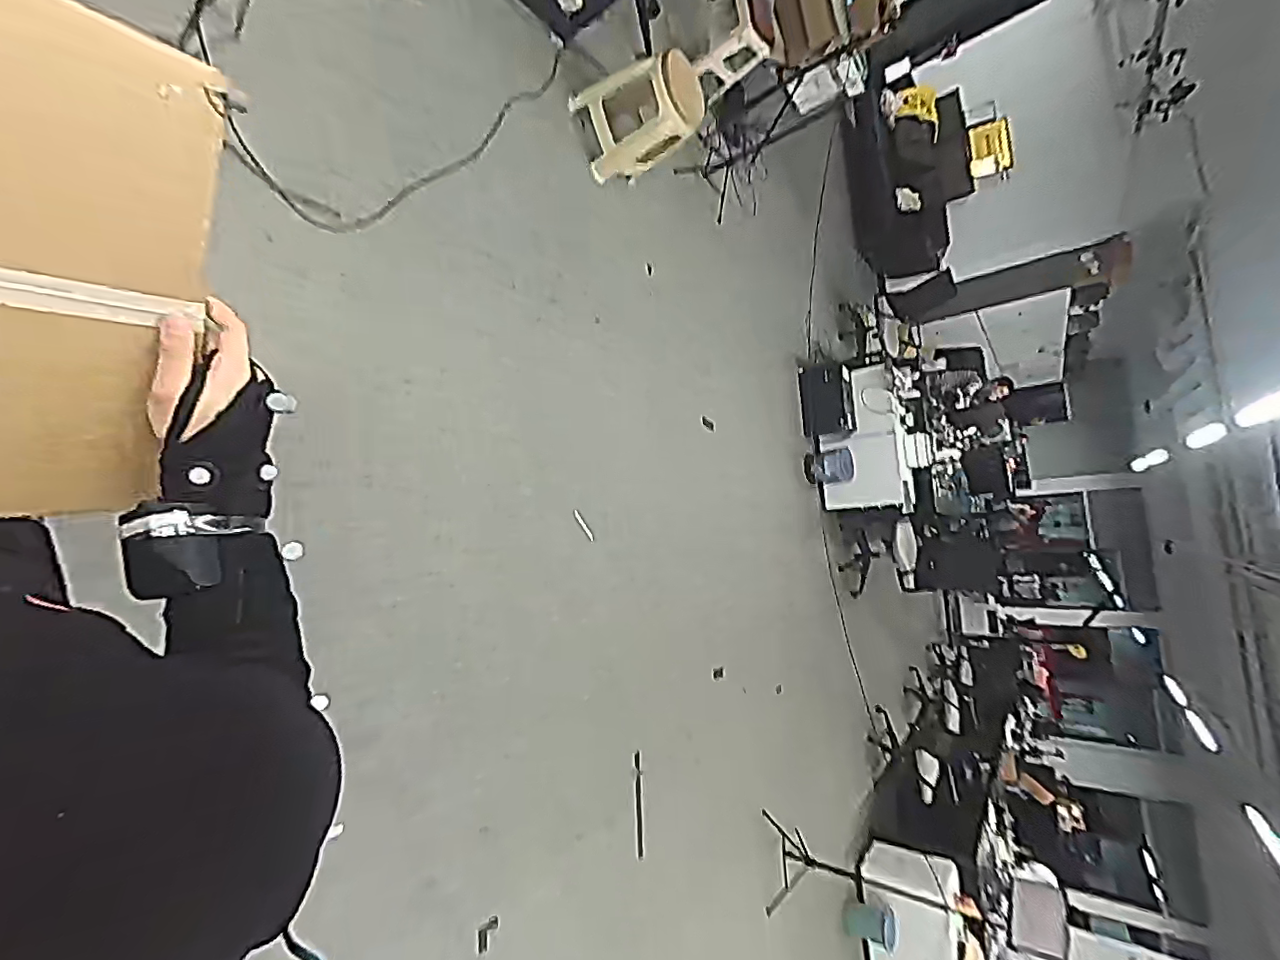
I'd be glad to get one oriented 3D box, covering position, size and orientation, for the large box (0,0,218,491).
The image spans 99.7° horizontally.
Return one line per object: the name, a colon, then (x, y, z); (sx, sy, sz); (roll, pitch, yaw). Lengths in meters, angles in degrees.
large box: (-0.554, -0.190, 0.316); (0.408, 0.320, 0.320); (-5, 122, -54)
